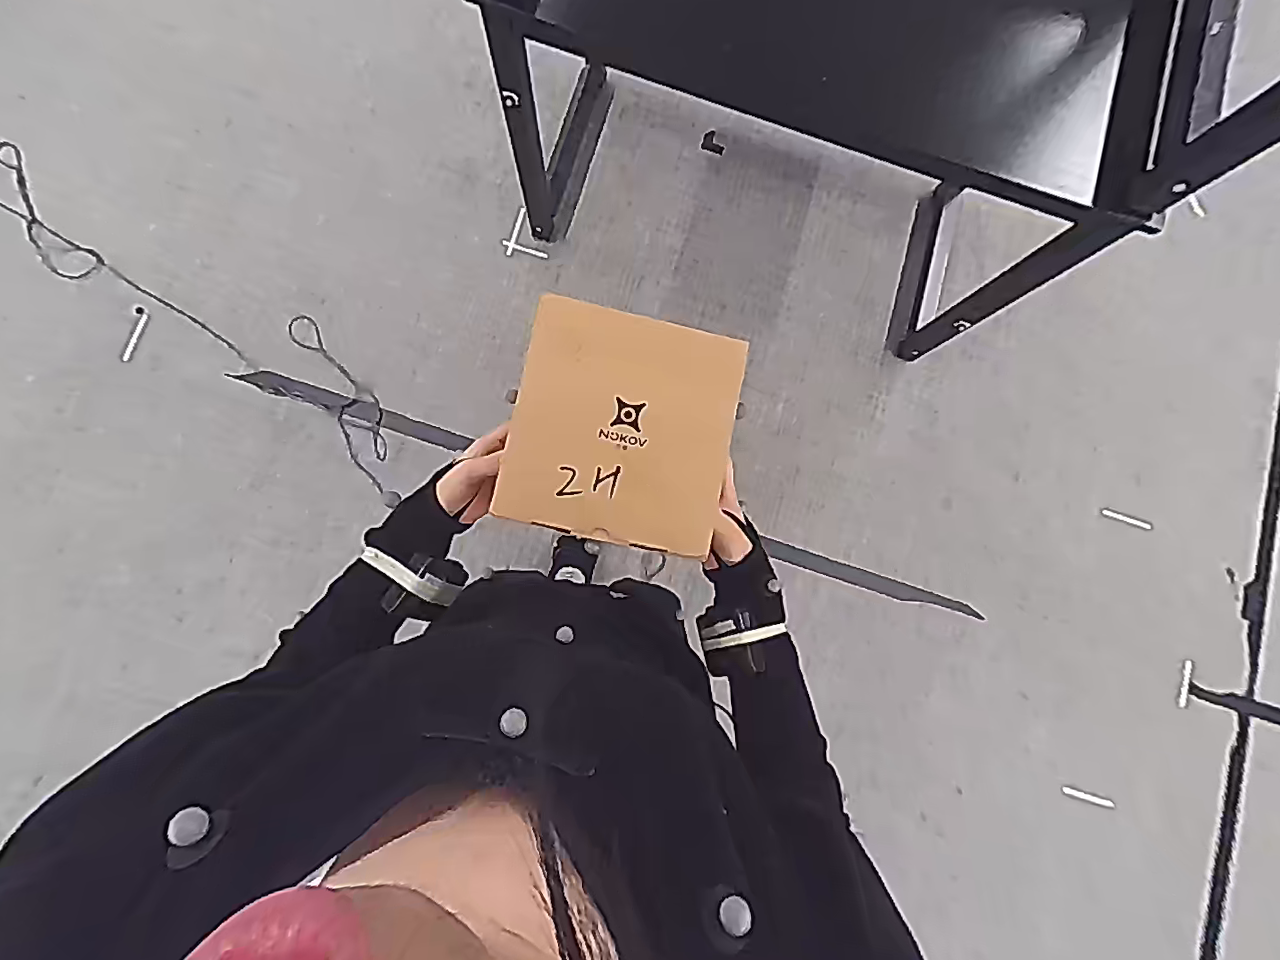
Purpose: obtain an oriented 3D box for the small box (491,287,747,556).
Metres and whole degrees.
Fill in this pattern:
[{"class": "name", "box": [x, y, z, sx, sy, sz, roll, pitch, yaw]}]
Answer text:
[{"class": "small box", "box": [-0.021, -0.038, 0.485, 0.168, 0.176, 0.179, 13, 84, -4]}]
